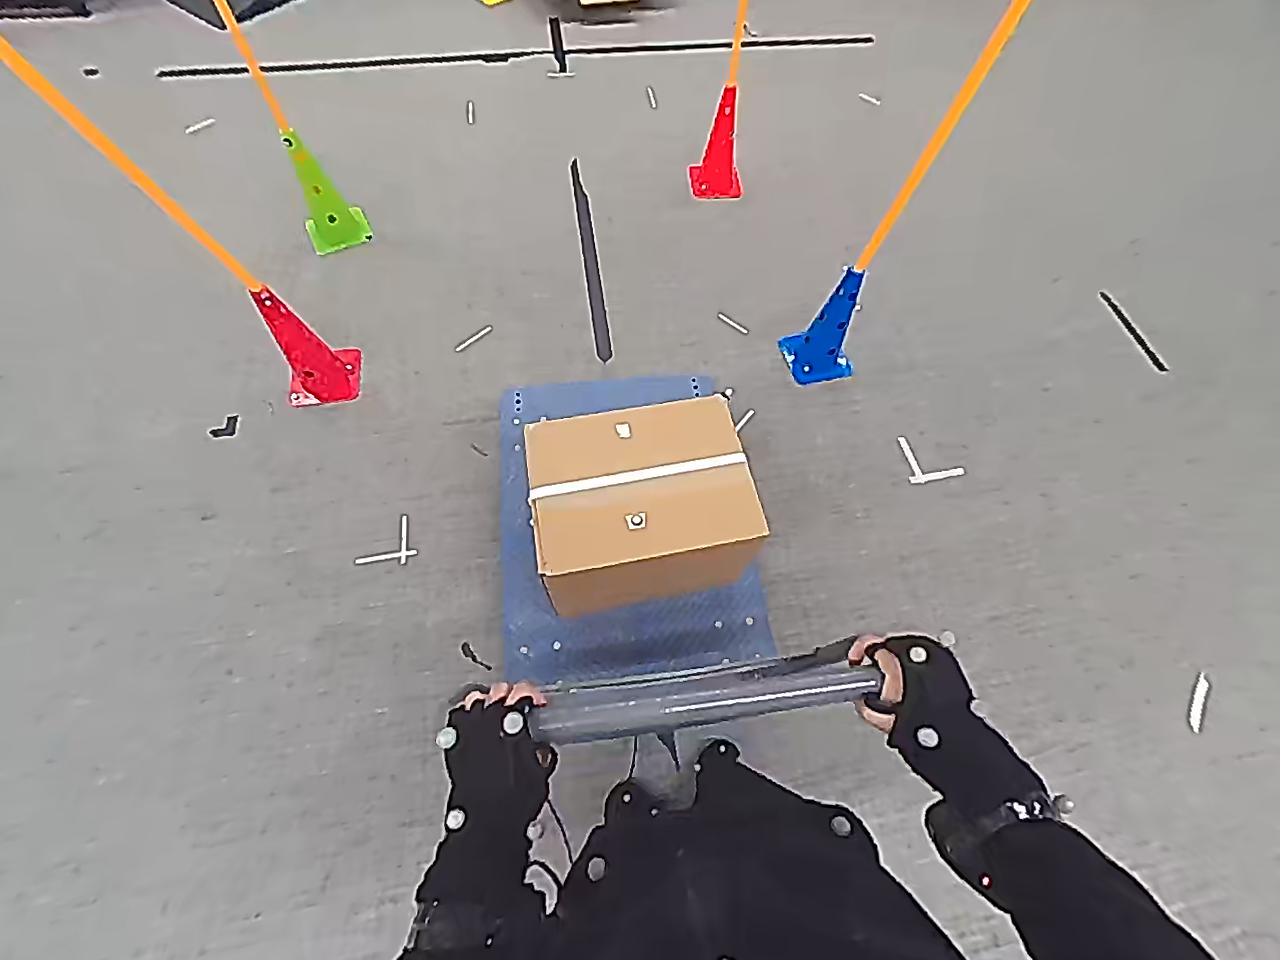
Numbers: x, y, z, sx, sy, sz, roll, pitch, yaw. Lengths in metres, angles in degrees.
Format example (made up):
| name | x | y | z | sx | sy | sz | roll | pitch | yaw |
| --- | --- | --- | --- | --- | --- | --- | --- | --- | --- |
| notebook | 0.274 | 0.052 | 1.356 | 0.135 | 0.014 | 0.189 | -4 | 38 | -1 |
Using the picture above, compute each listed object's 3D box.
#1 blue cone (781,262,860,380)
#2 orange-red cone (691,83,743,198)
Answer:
| name | x | y | z | sx | sy | sz | roll | pitch | yaw |
| --- | --- | --- | --- | --- | --- | --- | --- | --- | --- |
| blue cone | 0.583 | -0.487 | 1.634 | 0.193 | 0.380 | 0.192 | -11 | 63 | -8 |
| orange-red cone | 0.314 | -1.272 | 2.011 | 0.199 | 0.360 | 0.198 | -1 | 63 | -4 |
